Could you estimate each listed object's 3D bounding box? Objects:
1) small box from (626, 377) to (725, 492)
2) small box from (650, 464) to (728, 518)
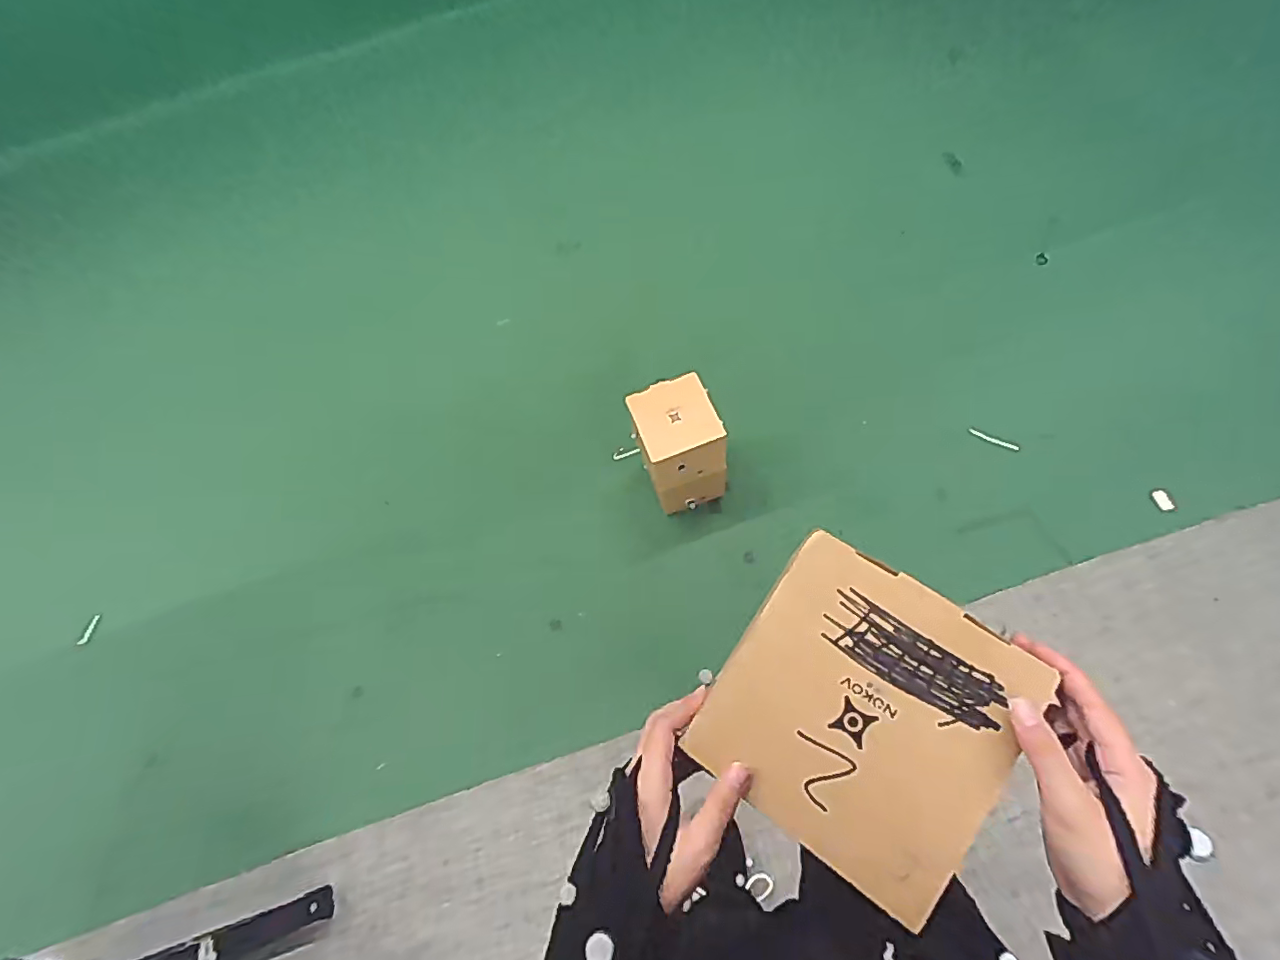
[{"bbox_3d":[0.083,-0.091,1.202,0.168,0.176,0.179,-21,64,-2],"label":"small box"},{"bbox_3d":[0.109,-0.031,1.351,0.168,0.176,0.179,-20,65,-1],"label":"small box"}]
